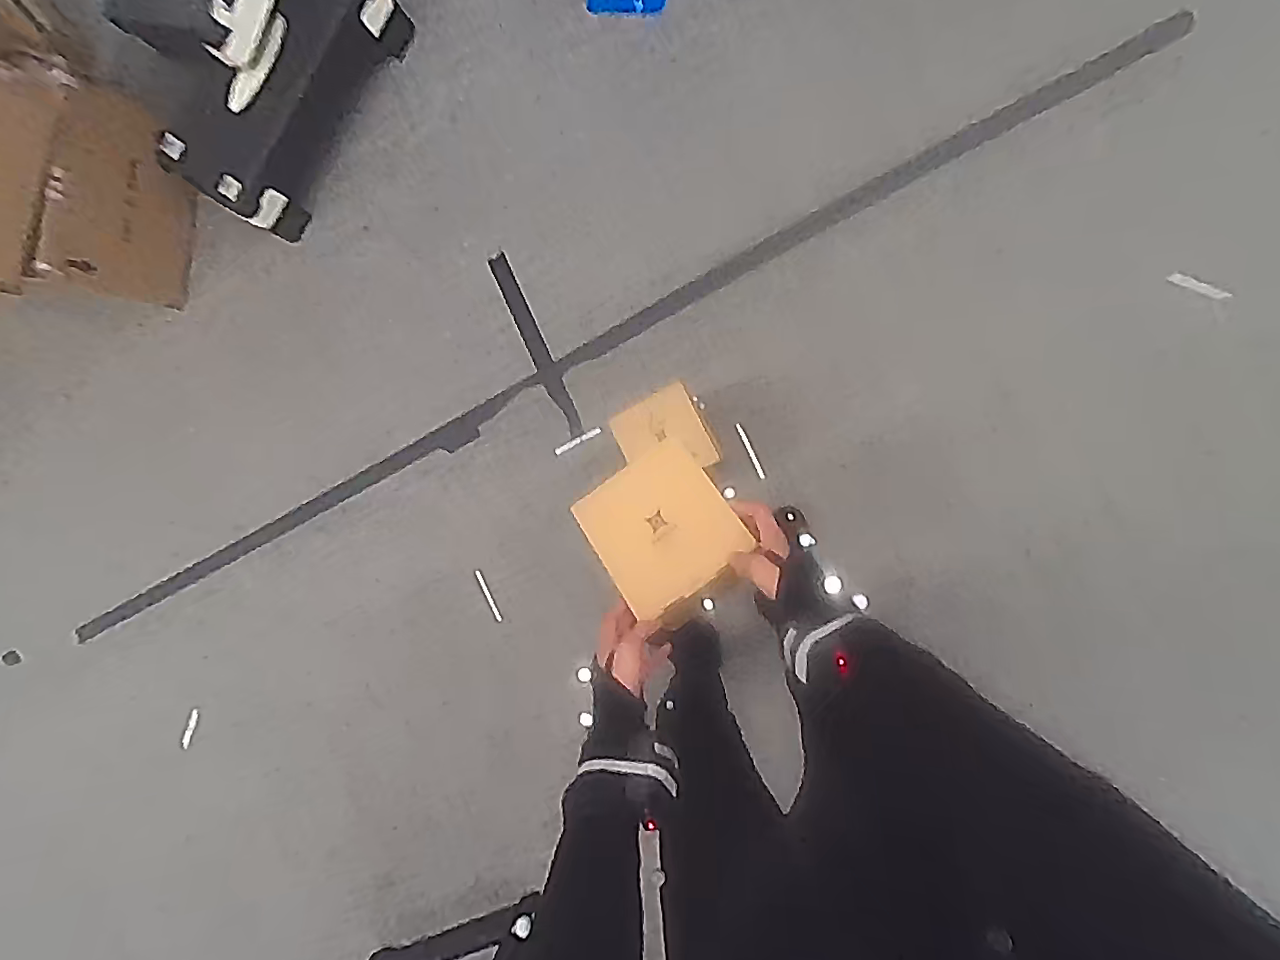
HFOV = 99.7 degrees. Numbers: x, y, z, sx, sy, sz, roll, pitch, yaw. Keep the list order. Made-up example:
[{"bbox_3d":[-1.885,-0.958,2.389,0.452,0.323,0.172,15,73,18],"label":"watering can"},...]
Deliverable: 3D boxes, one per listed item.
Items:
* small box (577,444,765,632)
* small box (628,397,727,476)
[{"bbox_3d":[0.048,0.087,0.718,0.168,0.176,0.179,-36,68,3],"label":"small box"},{"bbox_3d":[0.094,-0.075,1.288,0.168,0.176,0.179,-30,89,10],"label":"small box"}]
